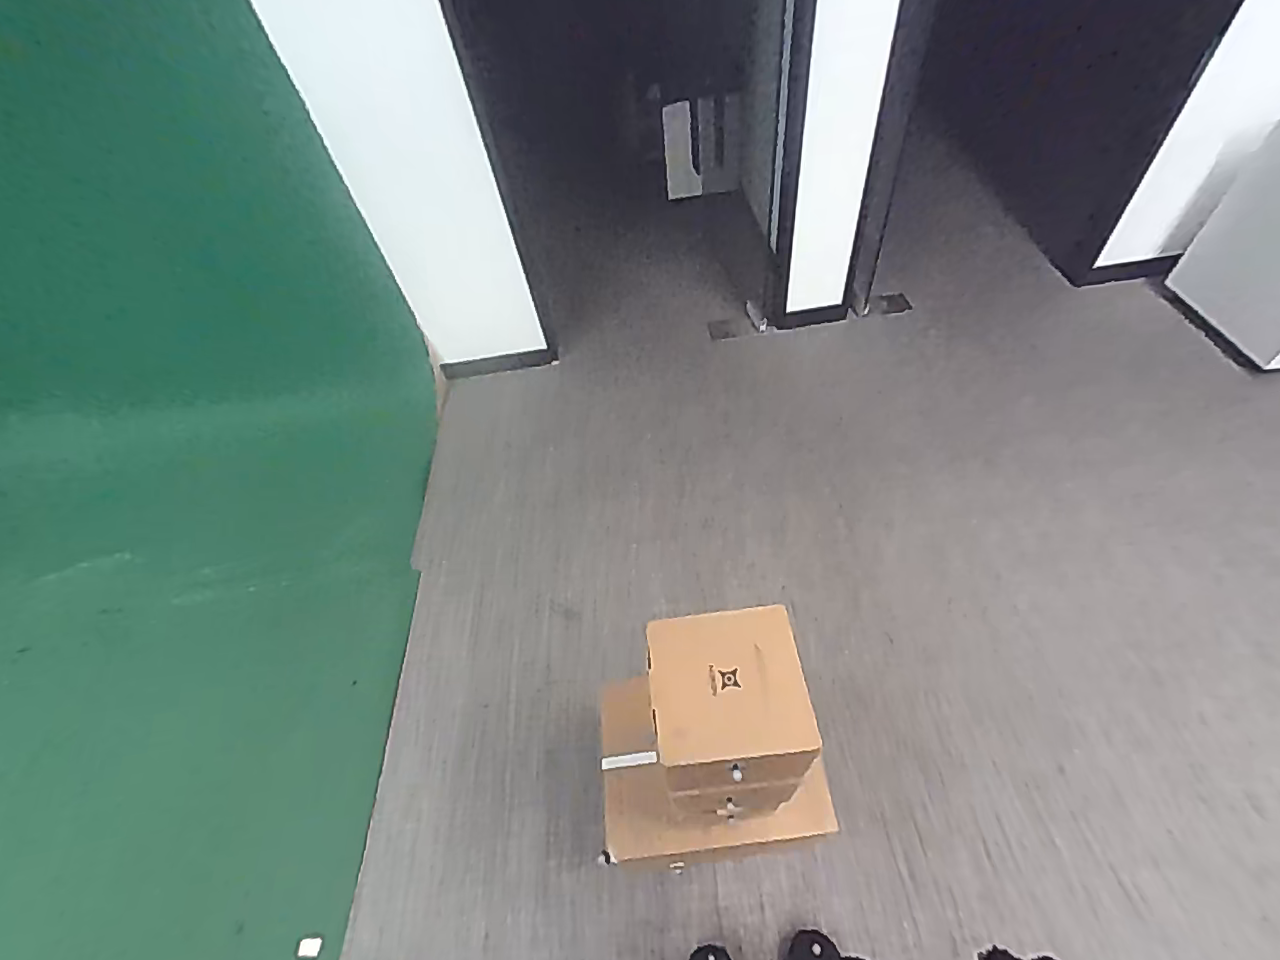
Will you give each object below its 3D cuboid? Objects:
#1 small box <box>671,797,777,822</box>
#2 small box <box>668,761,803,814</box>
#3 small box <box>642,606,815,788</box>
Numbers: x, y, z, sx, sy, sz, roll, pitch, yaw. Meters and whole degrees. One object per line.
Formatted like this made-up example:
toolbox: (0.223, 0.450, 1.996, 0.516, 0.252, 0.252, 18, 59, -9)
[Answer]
small box: (0.132, 0.479, 0.936, 0.168, 0.176, 0.179, -10, 52, 1)
small box: (0.122, 0.382, 0.804, 0.179, 0.176, 0.168, -10, 52, 0)
small box: (0.103, 0.278, 0.682, 0.179, 0.176, 0.168, -7, 52, 2)
